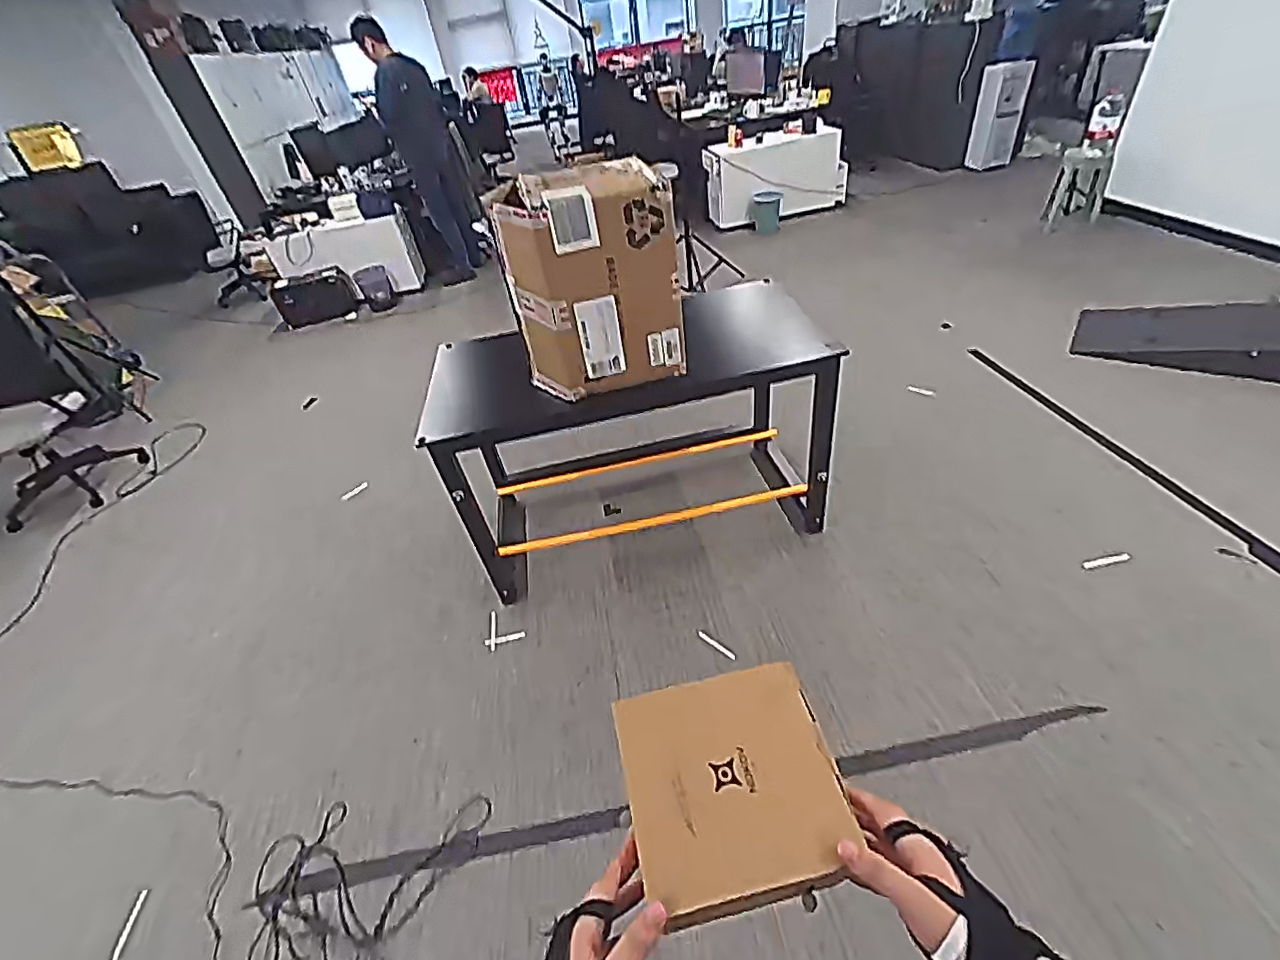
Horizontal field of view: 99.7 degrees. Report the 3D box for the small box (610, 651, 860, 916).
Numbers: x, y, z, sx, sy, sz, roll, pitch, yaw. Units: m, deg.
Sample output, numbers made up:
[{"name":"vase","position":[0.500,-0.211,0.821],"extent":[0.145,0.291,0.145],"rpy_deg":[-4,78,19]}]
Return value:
[{"name":"small box","position":[0.078,0.294,0.523],"extent":[0.179,0.176,0.168],"rpy_deg":[-13,47,-5]}]
